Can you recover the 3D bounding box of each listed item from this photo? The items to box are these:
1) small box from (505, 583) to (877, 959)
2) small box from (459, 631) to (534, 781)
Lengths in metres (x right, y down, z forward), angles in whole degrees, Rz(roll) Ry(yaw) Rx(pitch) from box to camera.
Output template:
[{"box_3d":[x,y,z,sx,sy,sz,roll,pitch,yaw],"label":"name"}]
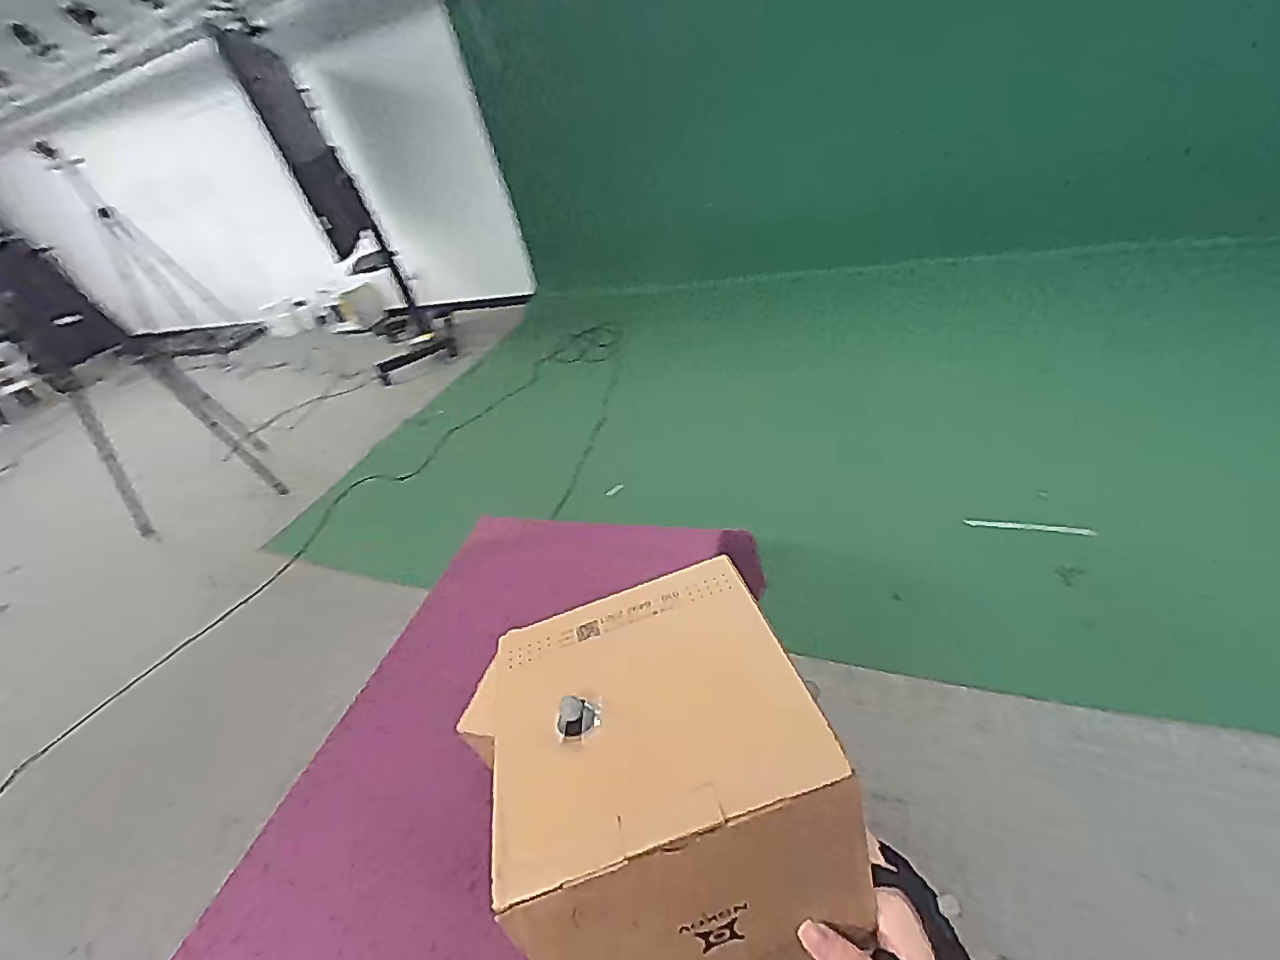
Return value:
[{"box_3d":[0.024,0.187,0.339,0.168,0.179,0.176,-18,29,-2],"label":"small box"},{"box_3d":[-0.125,0.348,0.805,0.179,0.176,0.168,0,42,22],"label":"small box"}]
